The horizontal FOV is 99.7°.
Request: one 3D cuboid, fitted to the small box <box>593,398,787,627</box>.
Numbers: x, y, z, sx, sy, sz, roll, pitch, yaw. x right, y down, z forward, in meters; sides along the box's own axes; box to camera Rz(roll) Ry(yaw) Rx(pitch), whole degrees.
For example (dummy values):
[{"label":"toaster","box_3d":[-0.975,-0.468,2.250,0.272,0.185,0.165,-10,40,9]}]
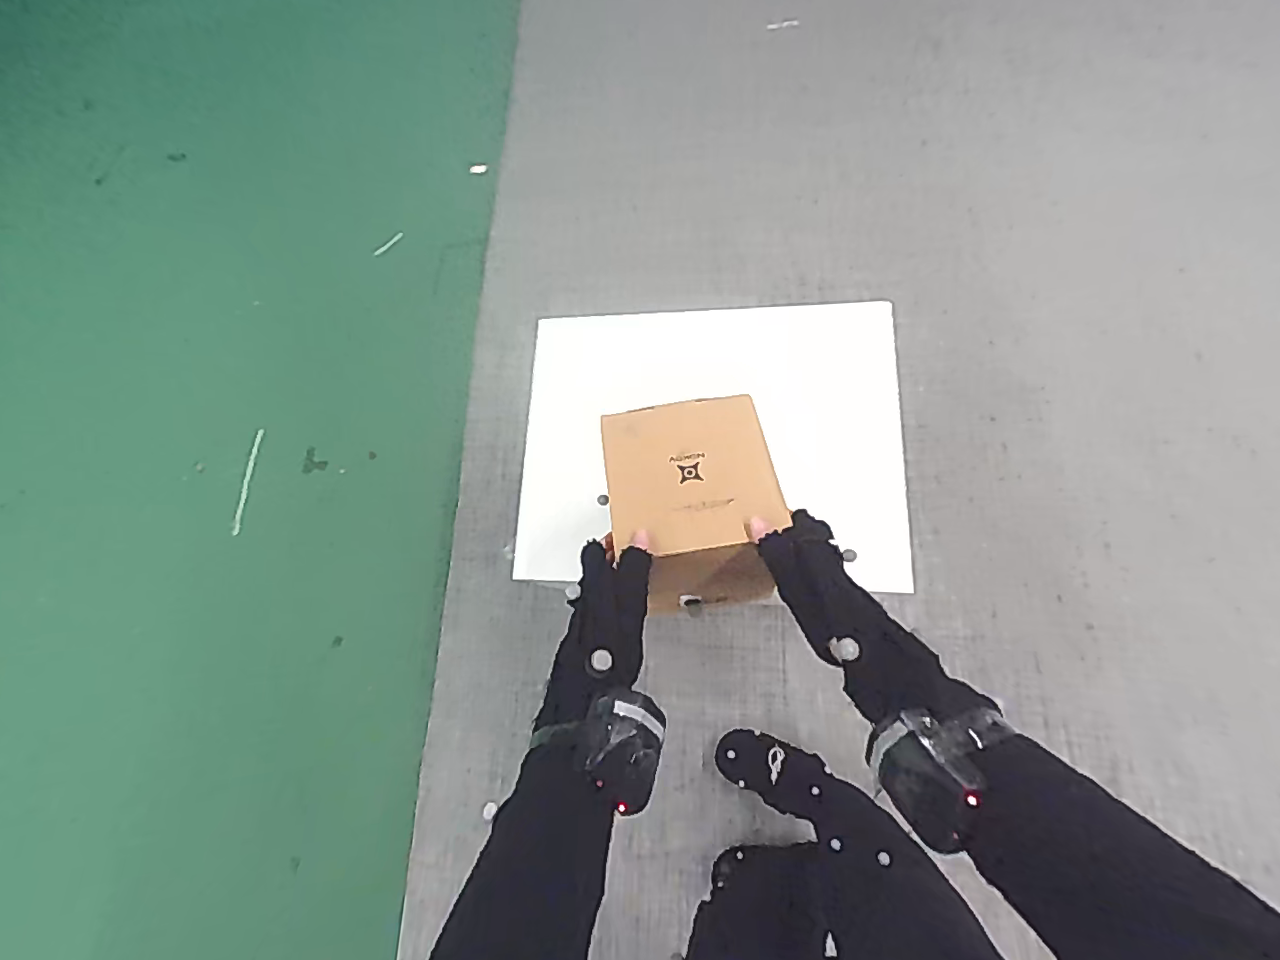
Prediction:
[{"label":"small box","box_3d":[0.047,0.040,0.591,0.168,0.176,0.179,-10,57,1]}]
